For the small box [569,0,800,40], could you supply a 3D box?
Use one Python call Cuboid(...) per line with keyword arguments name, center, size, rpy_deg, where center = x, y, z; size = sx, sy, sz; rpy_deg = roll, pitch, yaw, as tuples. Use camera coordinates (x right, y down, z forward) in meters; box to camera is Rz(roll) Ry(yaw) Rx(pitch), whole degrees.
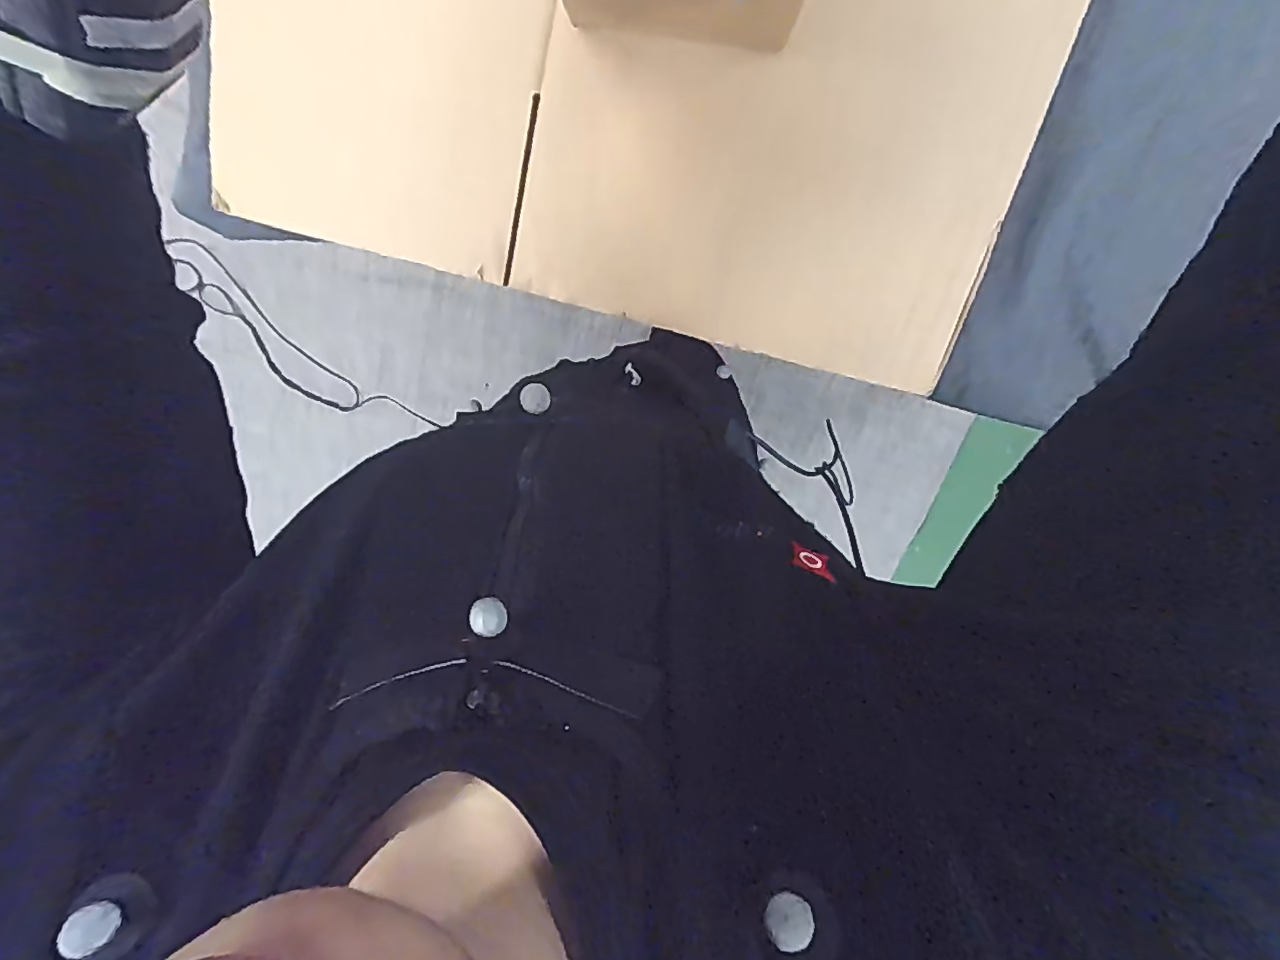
Cuboid(name="small box", center=(0.035, -0.401, 0.319), size=(0.179, 0.176, 0.168), rpy_deg=(8, 105, 3))
